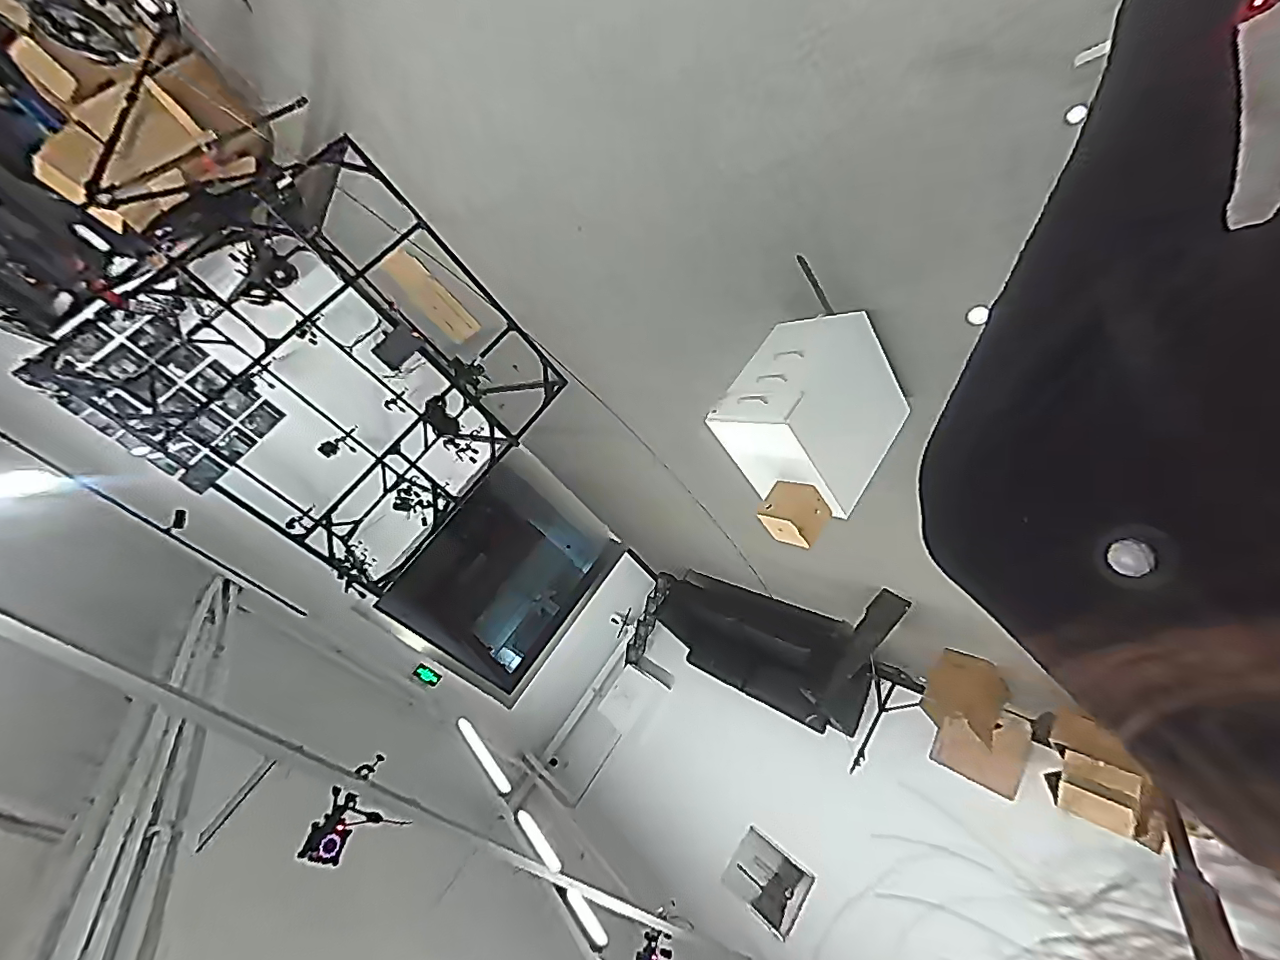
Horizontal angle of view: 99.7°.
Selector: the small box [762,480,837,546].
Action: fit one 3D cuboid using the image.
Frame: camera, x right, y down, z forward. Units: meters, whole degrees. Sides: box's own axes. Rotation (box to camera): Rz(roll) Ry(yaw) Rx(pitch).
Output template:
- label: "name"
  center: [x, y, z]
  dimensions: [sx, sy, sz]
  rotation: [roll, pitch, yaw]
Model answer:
- label: "small box"
  center: [0.600, 0.115, 2.022]
  dimensions: [0.168, 0.176, 0.179]
  rotation: [47, 161, -29]
